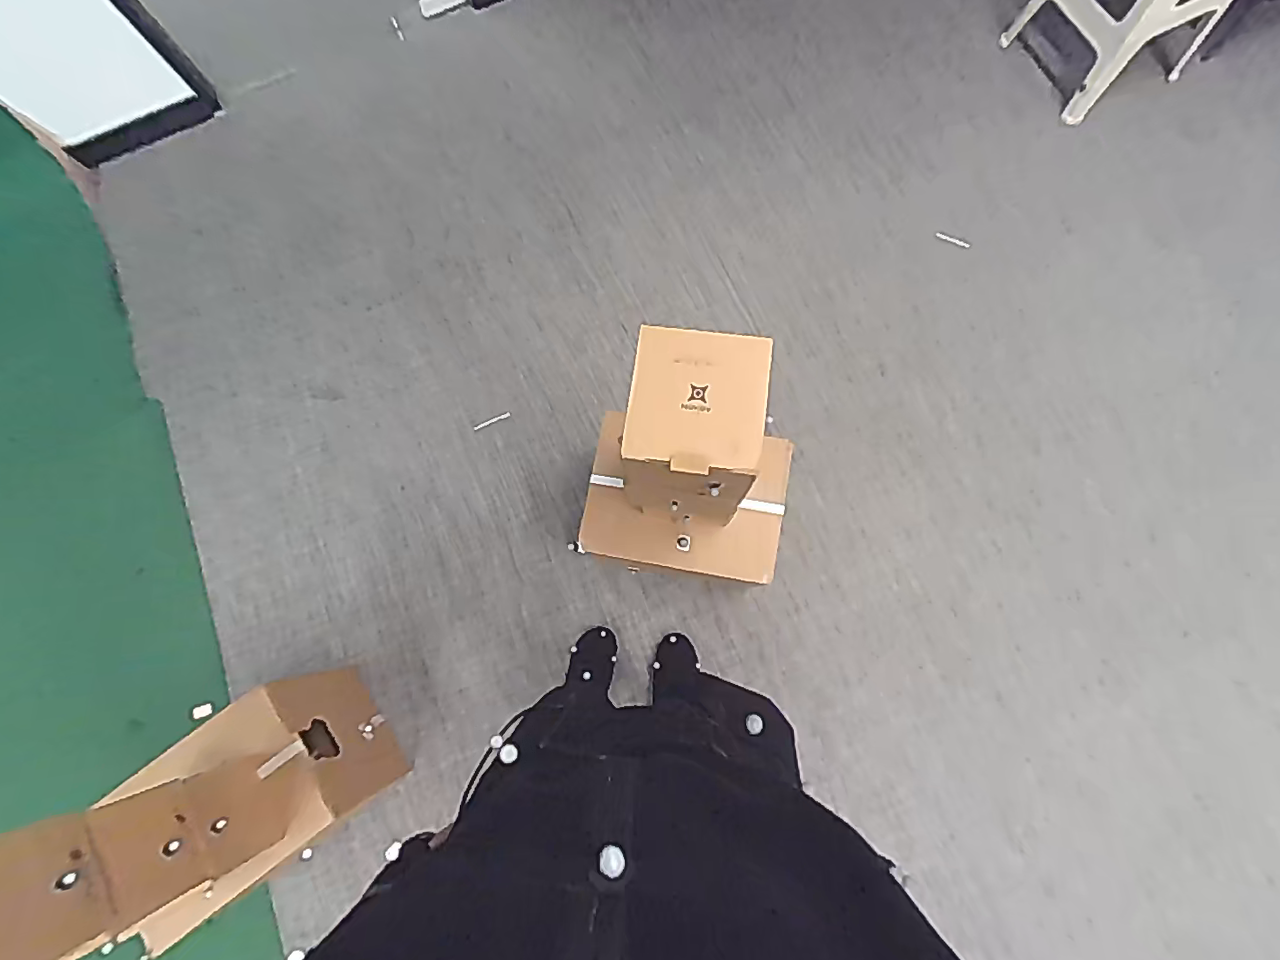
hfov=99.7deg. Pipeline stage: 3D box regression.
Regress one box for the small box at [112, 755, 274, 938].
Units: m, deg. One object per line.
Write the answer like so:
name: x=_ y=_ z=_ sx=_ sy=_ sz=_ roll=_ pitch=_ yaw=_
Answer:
small box: x=-0.786 y=0.617 z=0.939 sx=0.168 sy=0.176 sz=0.179 roll=-31 pitch=78 yaw=-5

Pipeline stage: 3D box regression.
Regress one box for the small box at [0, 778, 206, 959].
small box: x=-0.795 y=0.573 z=0.783 sx=0.179 sy=0.176 sz=0.168 roll=-30 pitch=77 yaw=-5

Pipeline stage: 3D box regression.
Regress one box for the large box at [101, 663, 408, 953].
large box: x=-0.813 y=0.663 z=1.182 sx=0.408 sy=0.320 sz=0.320 roll=-37 pitch=77 yaw=-4

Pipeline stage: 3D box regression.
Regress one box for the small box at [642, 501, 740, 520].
small box: x=0.099 y=-0.021 z=1.041 sx=0.179 sy=0.176 sz=0.168 roll=6 pitch=76 yaw=4

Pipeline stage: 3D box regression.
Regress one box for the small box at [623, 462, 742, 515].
small box: x=0.079 y=-0.045 z=0.878 sx=0.179 sy=0.176 sz=0.168 roll=10 pitch=77 yaw=6

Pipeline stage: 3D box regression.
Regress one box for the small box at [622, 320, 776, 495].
small box: x=0.076 y=-0.085 z=0.720 sx=0.168 sy=0.176 sz=0.179 roll=8 pitch=76 yaw=4
